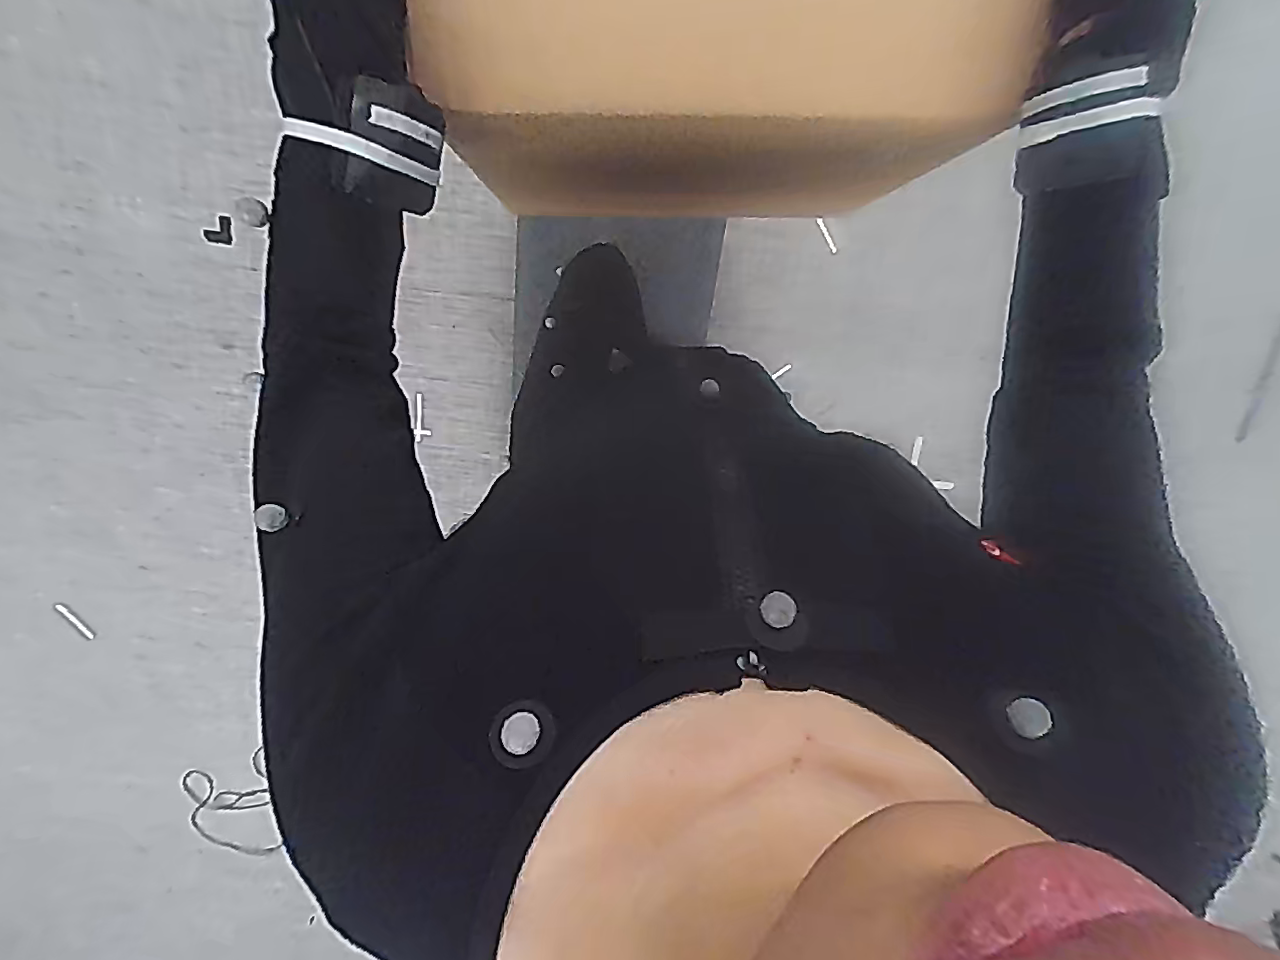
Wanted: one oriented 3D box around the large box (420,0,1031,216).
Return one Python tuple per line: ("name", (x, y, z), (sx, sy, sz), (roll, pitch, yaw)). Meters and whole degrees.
("large box", (0.049, -0.432, 0.469), (0.408, 0.320, 0.320), (-1, 105, -2))
